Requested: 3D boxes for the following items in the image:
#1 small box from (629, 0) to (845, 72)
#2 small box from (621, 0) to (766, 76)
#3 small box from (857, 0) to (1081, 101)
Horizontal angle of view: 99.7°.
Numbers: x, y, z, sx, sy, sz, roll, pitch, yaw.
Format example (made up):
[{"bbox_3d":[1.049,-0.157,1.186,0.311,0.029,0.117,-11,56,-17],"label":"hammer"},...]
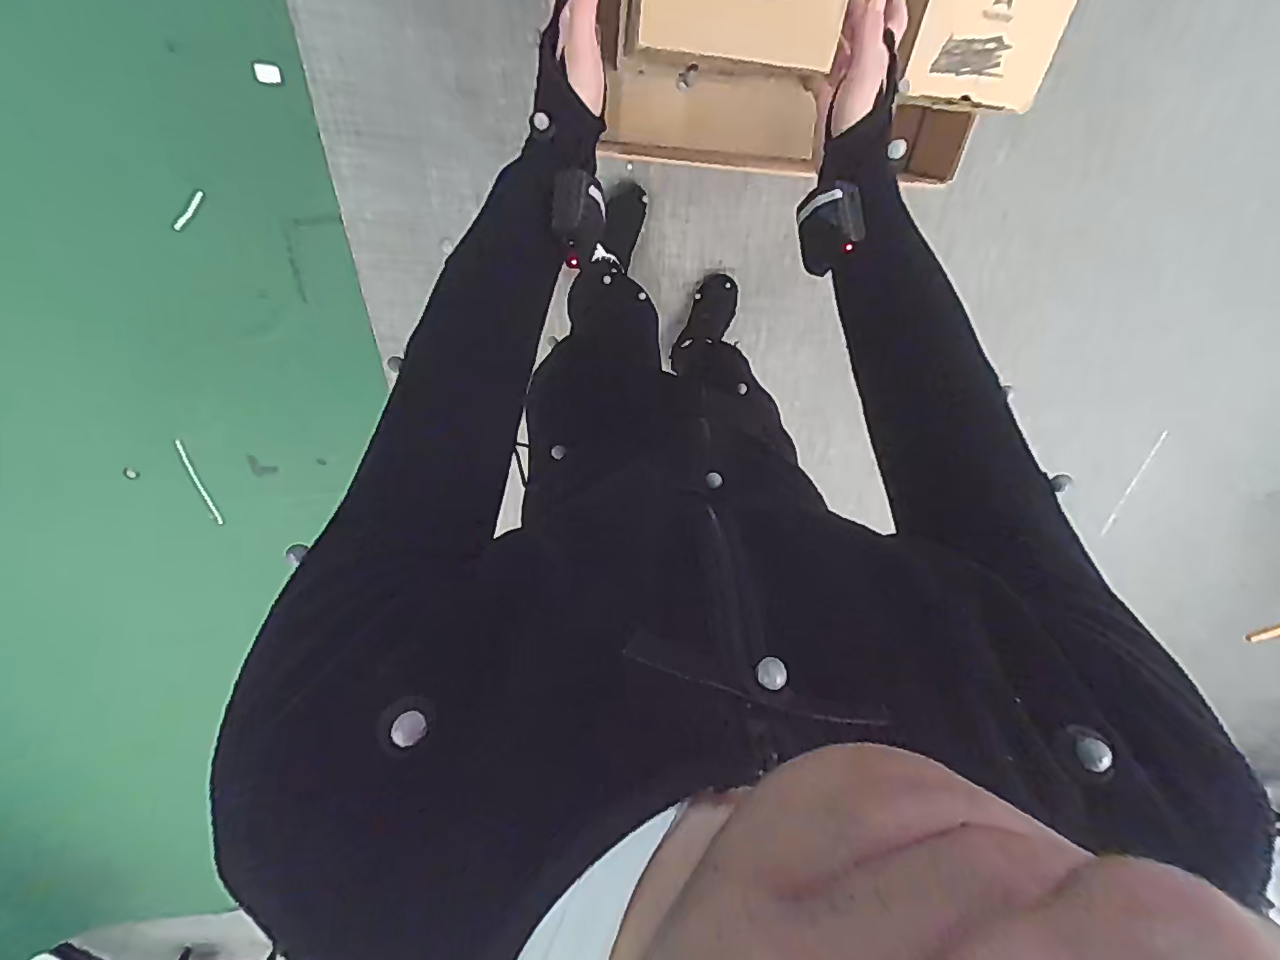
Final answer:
[{"bbox_3d":[0.081,-0.466,0.456,0.168,0.176,0.179,3,125,-6],"label":"small box"},{"bbox_3d":[0.070,-0.561,0.588,0.168,0.176,0.179,4,125,-6],"label":"small box"},{"bbox_3d":[0.374,-0.552,0.619,0.168,0.176,0.179,2,126,-7],"label":"small box"}]
